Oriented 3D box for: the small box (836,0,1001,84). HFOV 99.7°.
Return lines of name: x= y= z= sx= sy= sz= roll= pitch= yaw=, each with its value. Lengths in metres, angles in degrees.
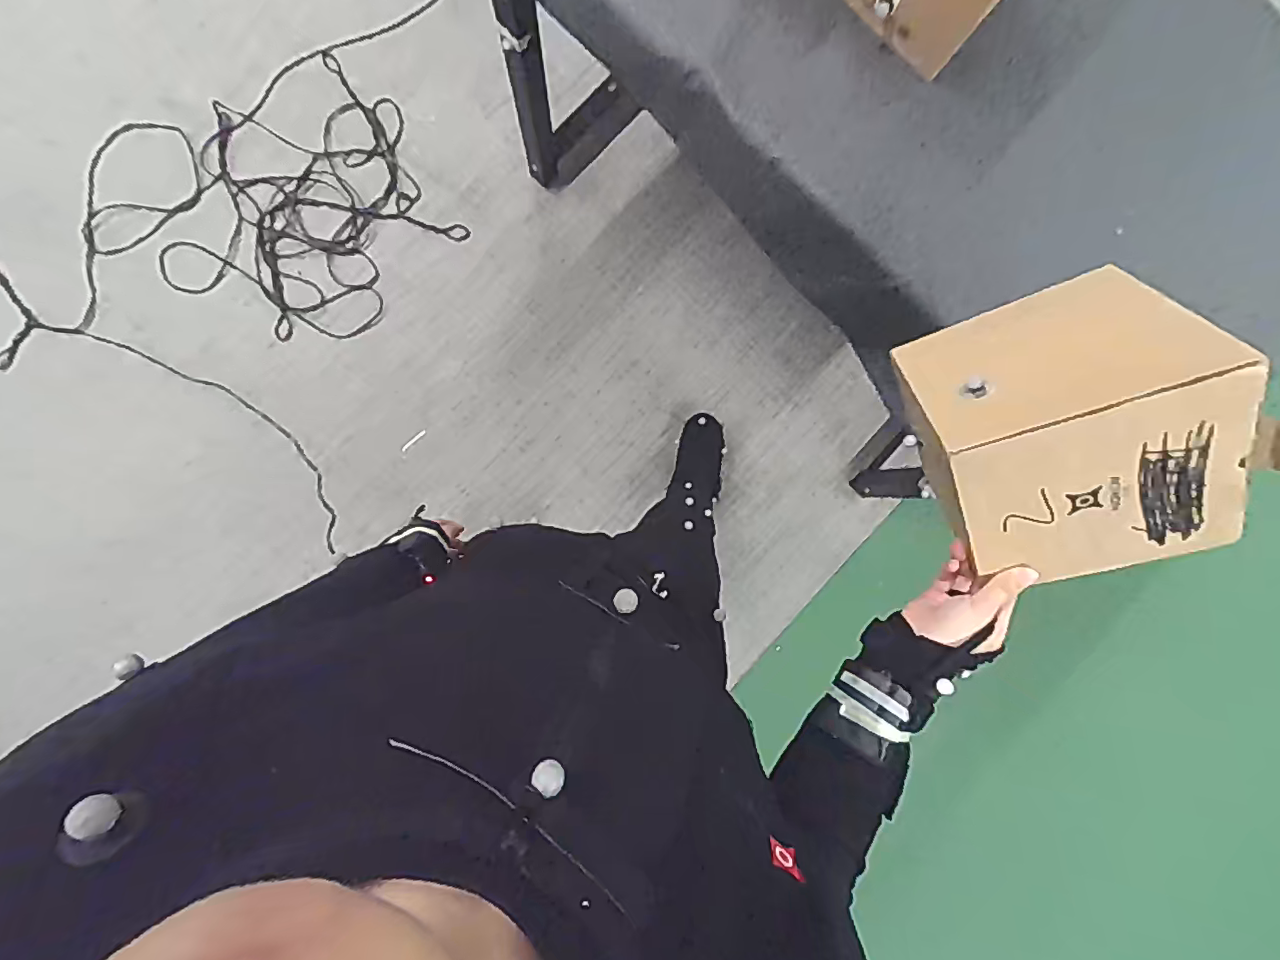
small box: x=0.350 y=-0.600 z=0.588 sx=0.168 sy=0.176 sz=0.179 roll=39 pitch=86 yaw=-2
